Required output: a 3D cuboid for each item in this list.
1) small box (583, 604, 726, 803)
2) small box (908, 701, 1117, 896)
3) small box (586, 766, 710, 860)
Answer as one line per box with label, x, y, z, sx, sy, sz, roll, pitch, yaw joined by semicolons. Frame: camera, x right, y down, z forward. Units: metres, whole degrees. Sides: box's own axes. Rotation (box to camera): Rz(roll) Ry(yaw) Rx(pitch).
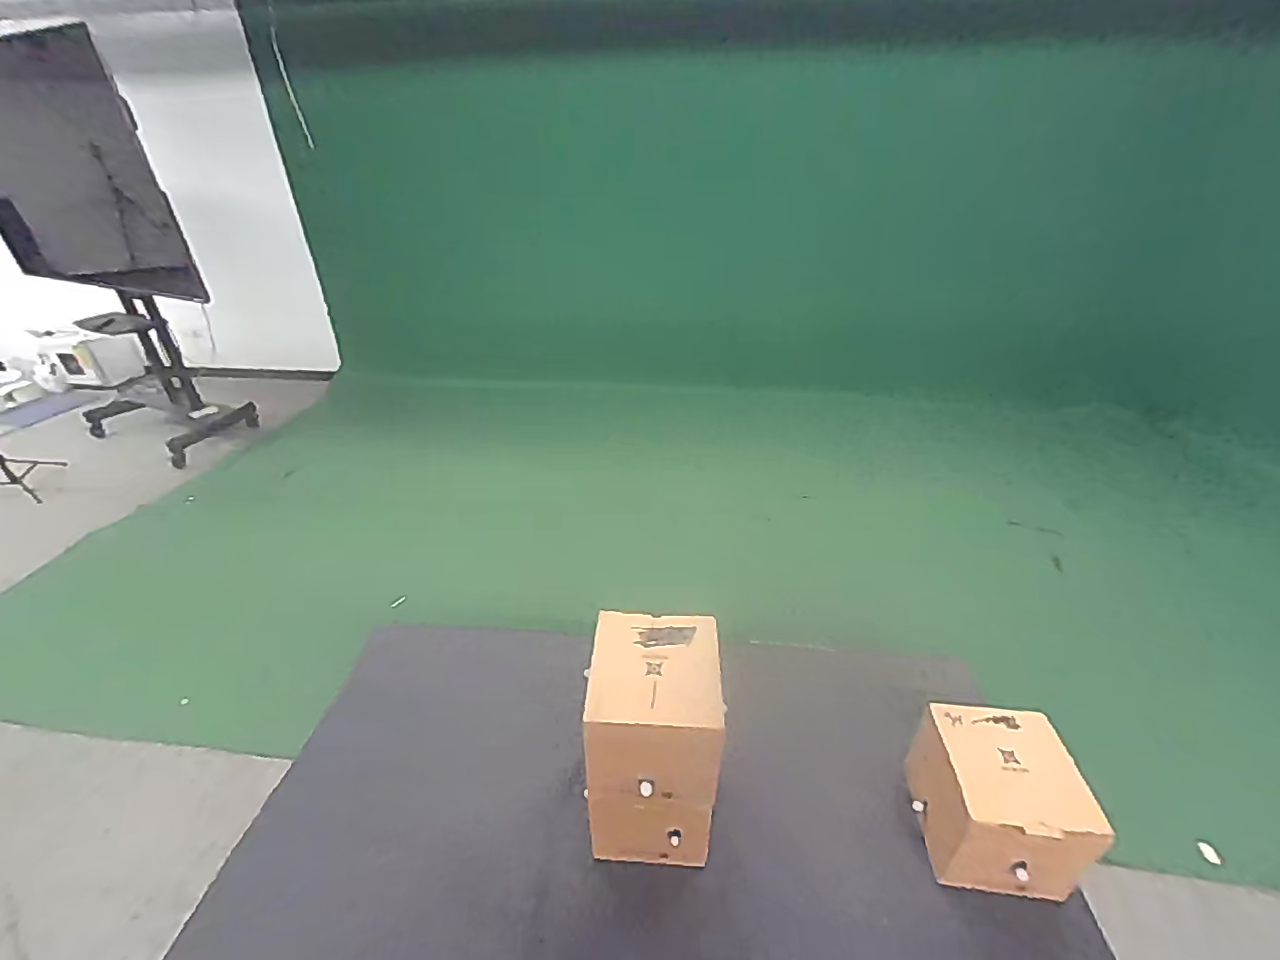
small box;0.020;0.291;0.717;0.168;0.176;0.179;2;33;3
small box;0.502;0.447;0.763;0.168;0.176;0.179;3;32;7
small box;0.017;0.430;0.804;0.168;0.176;0.179;3;30;3
